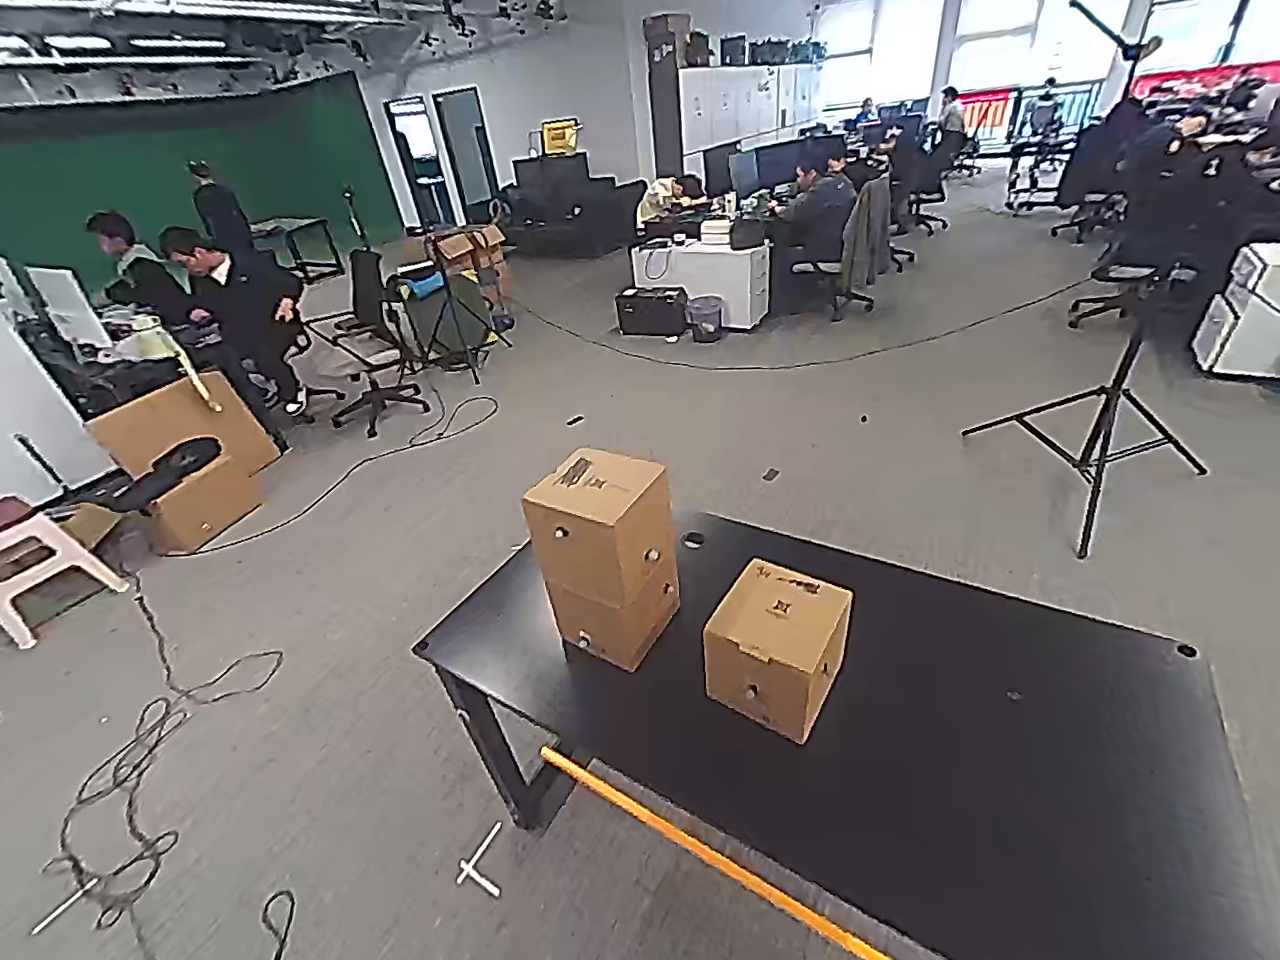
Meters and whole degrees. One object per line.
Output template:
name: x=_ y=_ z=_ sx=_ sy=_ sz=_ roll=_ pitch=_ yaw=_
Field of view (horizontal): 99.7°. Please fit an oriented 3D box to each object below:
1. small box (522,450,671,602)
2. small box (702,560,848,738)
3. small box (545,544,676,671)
small box: x=-0.063 y=0.074 z=0.894 sx=0.179 sy=0.176 sz=0.168 roll=14 pitch=39 yaw=28
small box: x=0.214 y=0.264 z=0.854 sx=0.168 sy=0.176 sz=0.179 roll=17 pitch=41 yaw=31
small box: x=-0.044 y=0.208 z=0.987 sx=0.168 sy=0.176 sz=0.179 roll=14 pitch=40 yaw=29
